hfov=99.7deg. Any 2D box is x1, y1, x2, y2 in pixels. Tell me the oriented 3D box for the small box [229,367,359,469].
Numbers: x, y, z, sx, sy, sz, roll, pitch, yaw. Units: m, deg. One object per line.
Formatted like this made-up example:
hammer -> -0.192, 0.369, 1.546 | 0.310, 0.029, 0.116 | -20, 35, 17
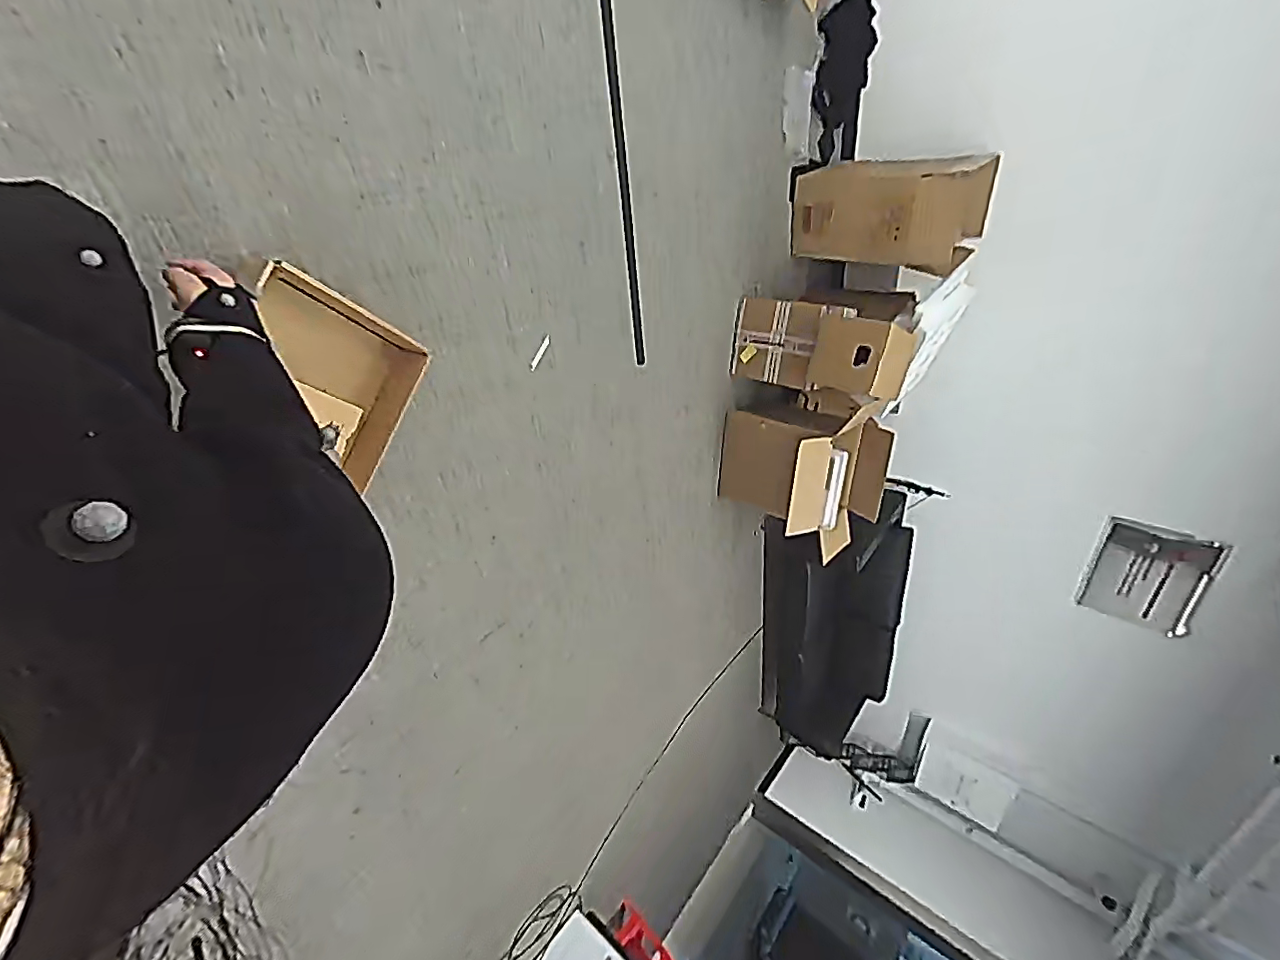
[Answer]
small box -> -0.807, -0.148, 1.262 | 0.179, 0.176, 0.168 | 30, 82, -53
